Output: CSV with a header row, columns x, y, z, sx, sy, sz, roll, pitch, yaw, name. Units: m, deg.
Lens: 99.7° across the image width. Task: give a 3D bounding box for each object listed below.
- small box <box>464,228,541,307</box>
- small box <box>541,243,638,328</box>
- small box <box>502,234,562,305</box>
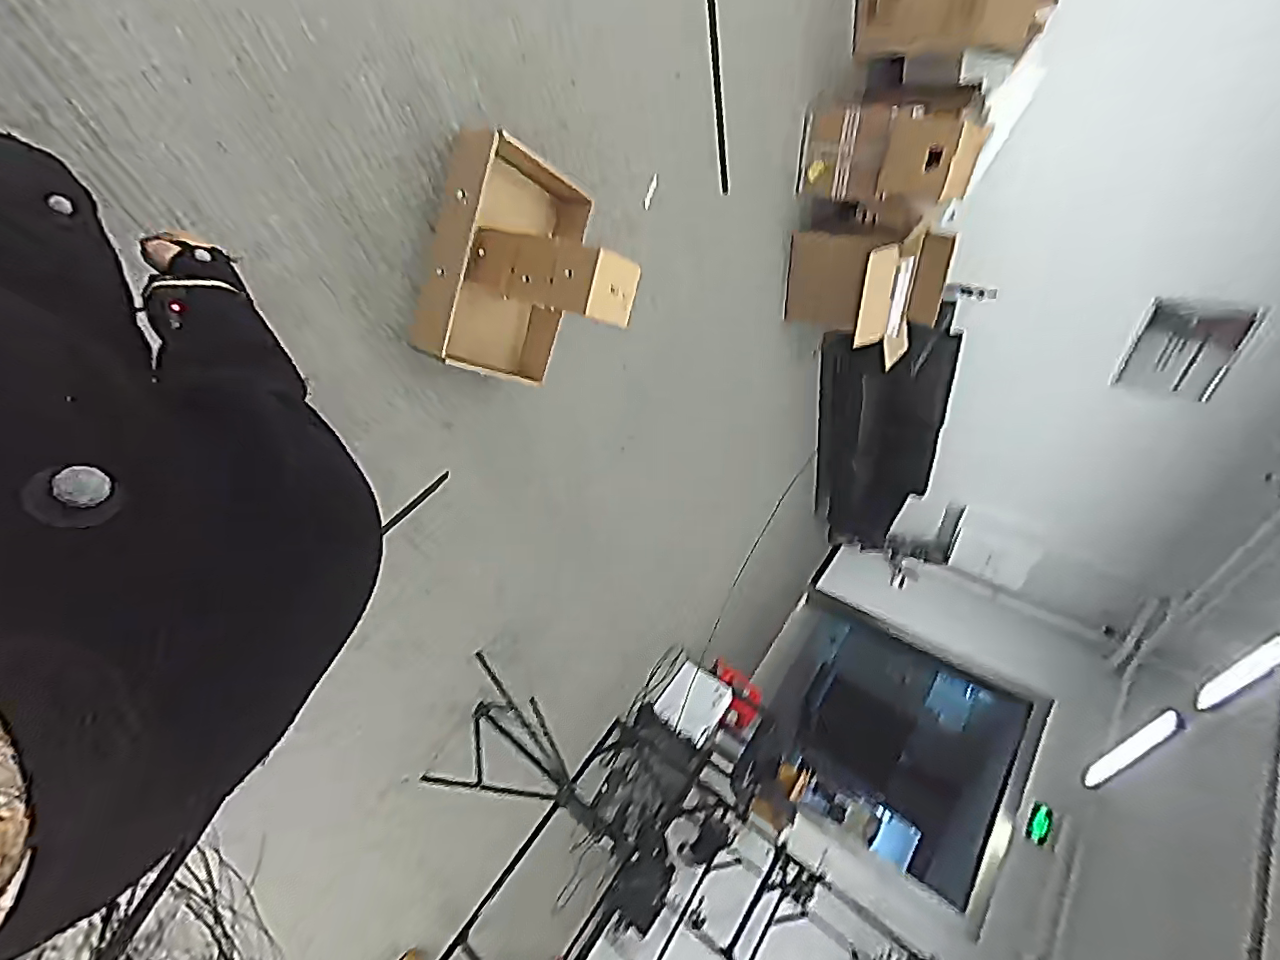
x,y,z,sx,sy,sz,roll,pitch,yaw,name
-0.392,-0.639,1.623,0.179,0.176,0.168,4,107,-56,small box
-0.139,-0.523,1.451,0.179,0.176,0.168,-4,116,-54,small box
-0.264,-0.587,1.538,0.179,0.176,0.168,-4,115,-56,small box
